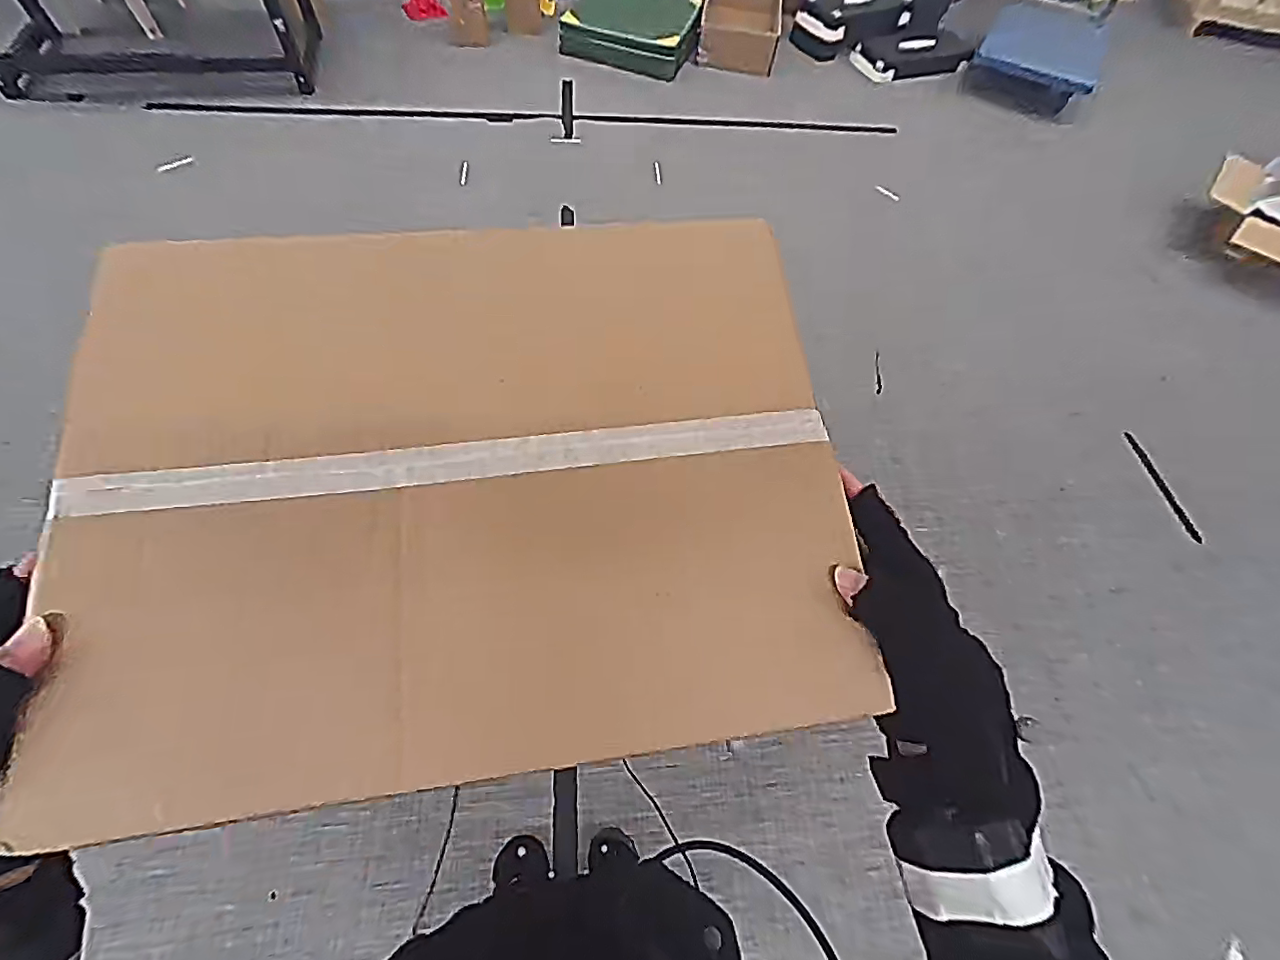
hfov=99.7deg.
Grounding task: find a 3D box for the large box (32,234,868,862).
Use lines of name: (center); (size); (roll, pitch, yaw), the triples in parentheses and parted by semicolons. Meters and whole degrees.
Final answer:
large box: (-0.105, 0.043, 0.444); (0.408, 0.320, 0.320); (-6, 72, -7)
